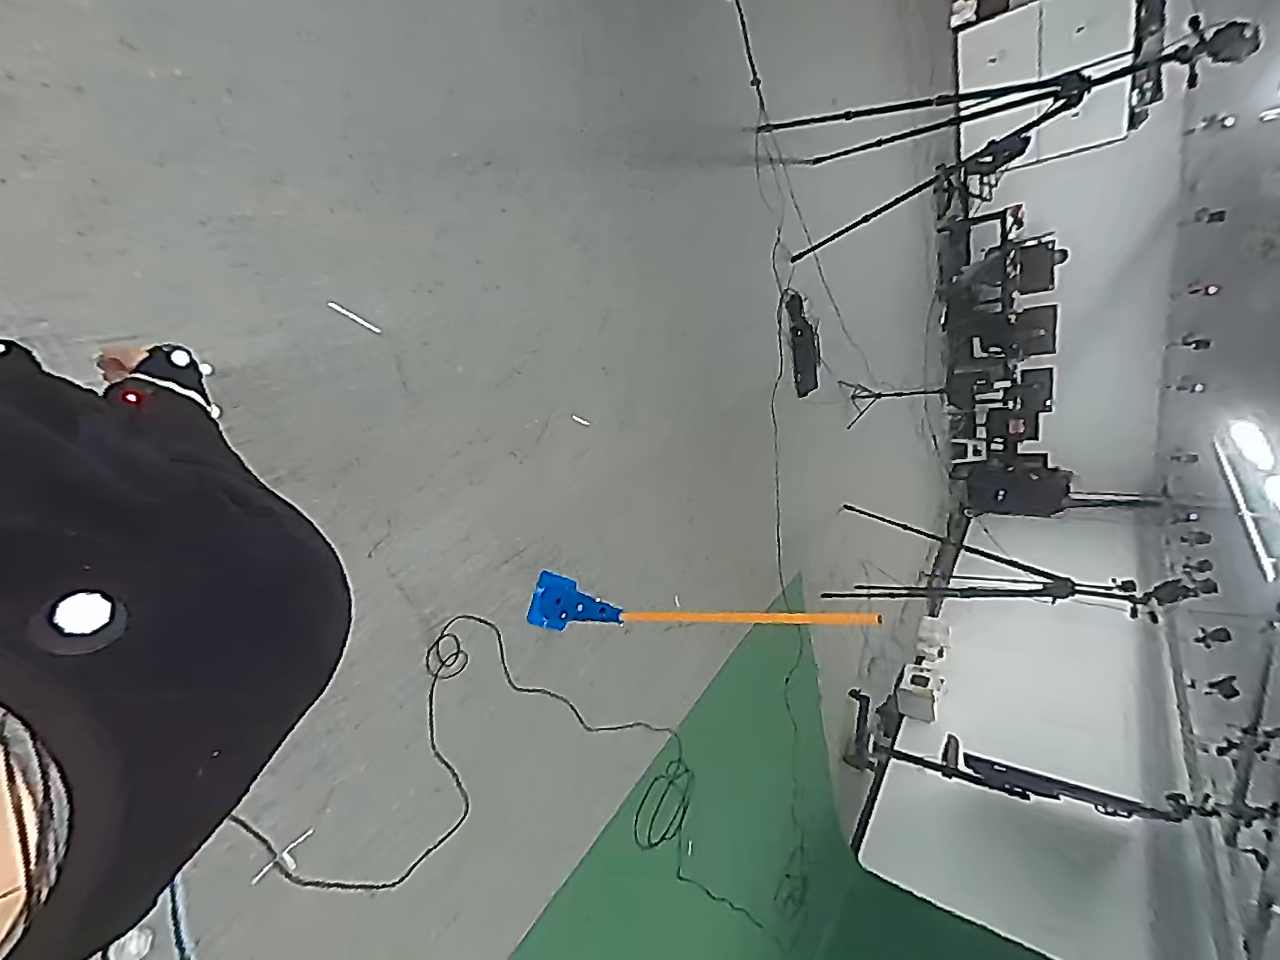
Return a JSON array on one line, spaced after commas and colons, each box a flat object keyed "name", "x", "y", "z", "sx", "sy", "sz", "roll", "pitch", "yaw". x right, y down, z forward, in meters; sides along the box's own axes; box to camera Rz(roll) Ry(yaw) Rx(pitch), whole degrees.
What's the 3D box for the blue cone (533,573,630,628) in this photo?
[{"name": "blue cone", "x": -0.196, "y": 0.455, "z": 1.942, "sx": 0.192, "sy": 0.380, "sz": 0.193, "roll": 30, "pitch": 67, "yaw": -47}]
